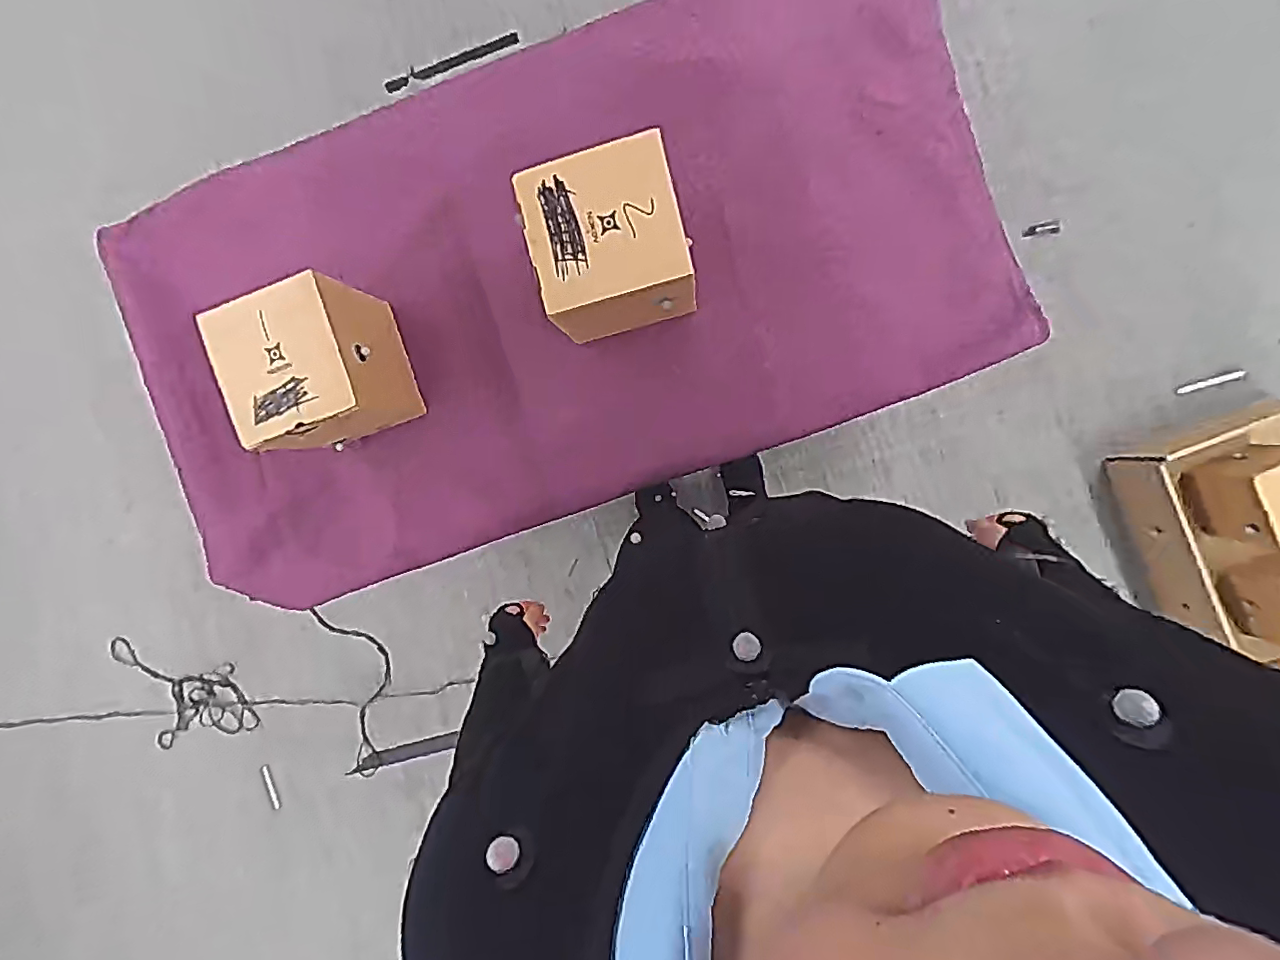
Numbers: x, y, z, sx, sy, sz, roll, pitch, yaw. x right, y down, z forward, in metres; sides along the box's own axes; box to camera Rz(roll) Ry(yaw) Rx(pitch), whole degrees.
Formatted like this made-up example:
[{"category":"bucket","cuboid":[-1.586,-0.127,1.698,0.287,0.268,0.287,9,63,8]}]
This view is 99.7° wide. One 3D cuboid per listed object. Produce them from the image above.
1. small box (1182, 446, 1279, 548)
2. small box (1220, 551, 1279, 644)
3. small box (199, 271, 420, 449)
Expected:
[{"category":"small box","cuboid":[1.410,0.031,1.225,0.168,0.176,0.179,-24,92,6]},{"category":"small box","cuboid":[1.511,0.270,1.232,0.179,0.176,0.168,-23,90,7]},{"category":"small box","cuboid":[-0.430,-0.150,0.735,0.168,0.176,0.179,-18,91,7]}]
